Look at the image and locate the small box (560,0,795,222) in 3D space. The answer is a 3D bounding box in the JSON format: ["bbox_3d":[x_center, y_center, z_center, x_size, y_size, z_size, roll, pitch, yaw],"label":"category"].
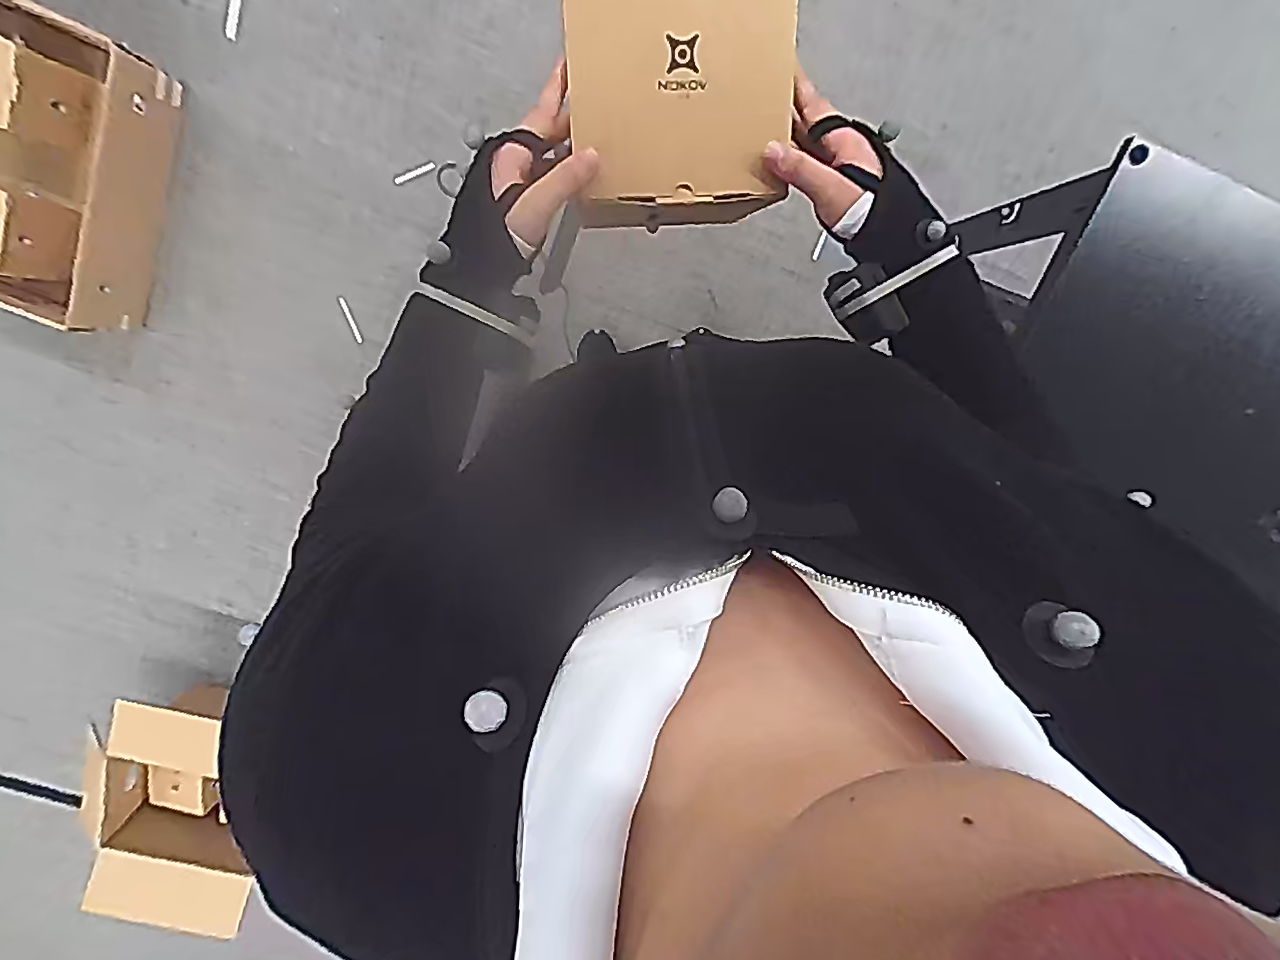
[{"bbox_3d":[0.020,-0.325,0.456,0.168,0.176,0.179,-4,110,-4],"label":"small box"}]

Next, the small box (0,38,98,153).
[{"bbox_3d":[-1.326,-0.831,1.151,0.179,0.176,0.168,23,103,-9],"label":"small box"}]

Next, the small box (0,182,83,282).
[{"bbox_3d":[-1.424,-0.565,1.217,0.168,0.176,0.179,21,101,-8],"label":"small box"}]
